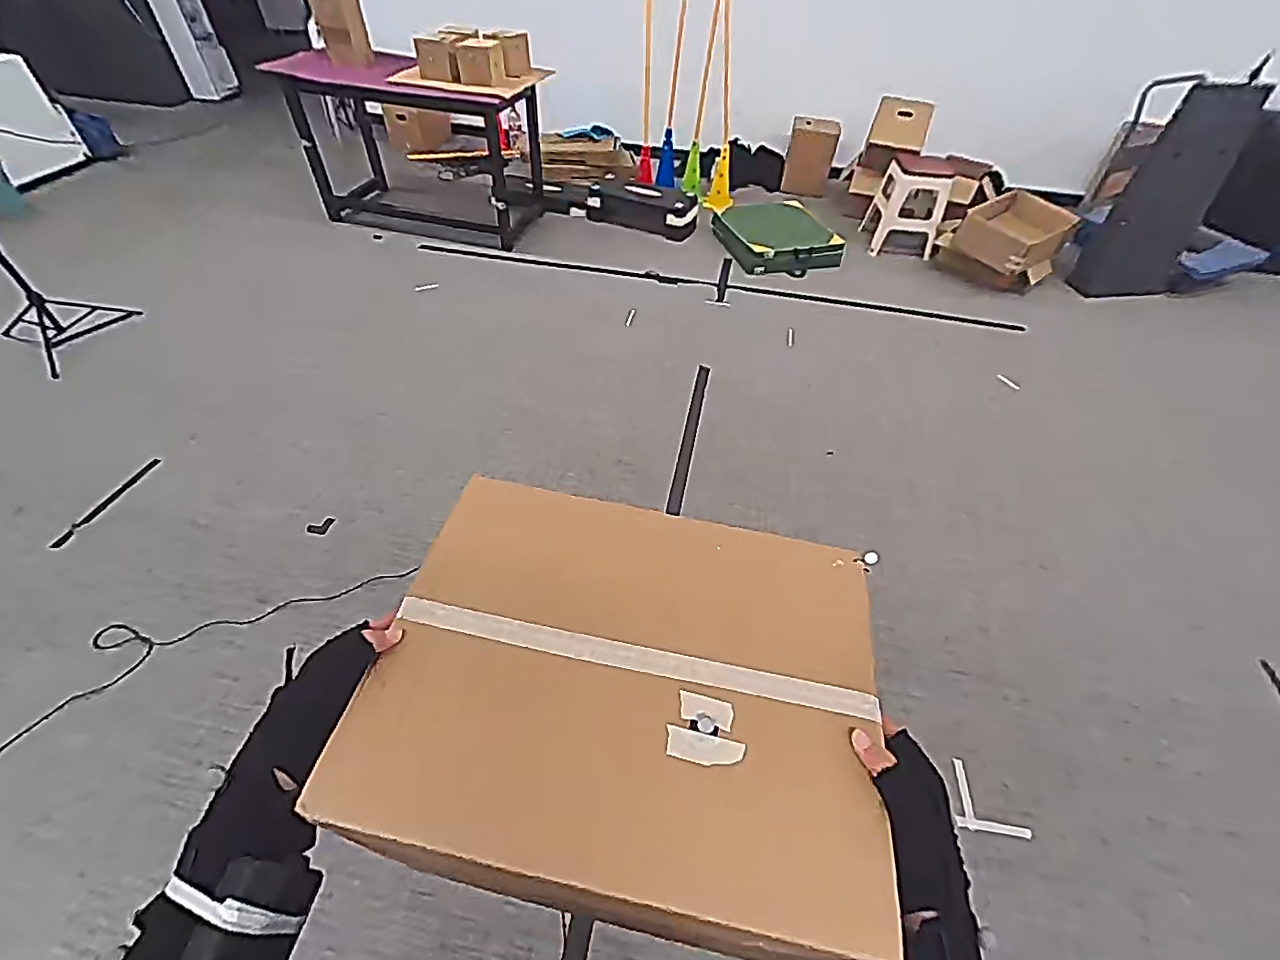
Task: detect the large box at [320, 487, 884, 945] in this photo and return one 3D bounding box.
[{"bbox_3d":[-0.019,0.250,0.575,0.408,0.320,0.320,11,50,4],"label":"large box"}]
